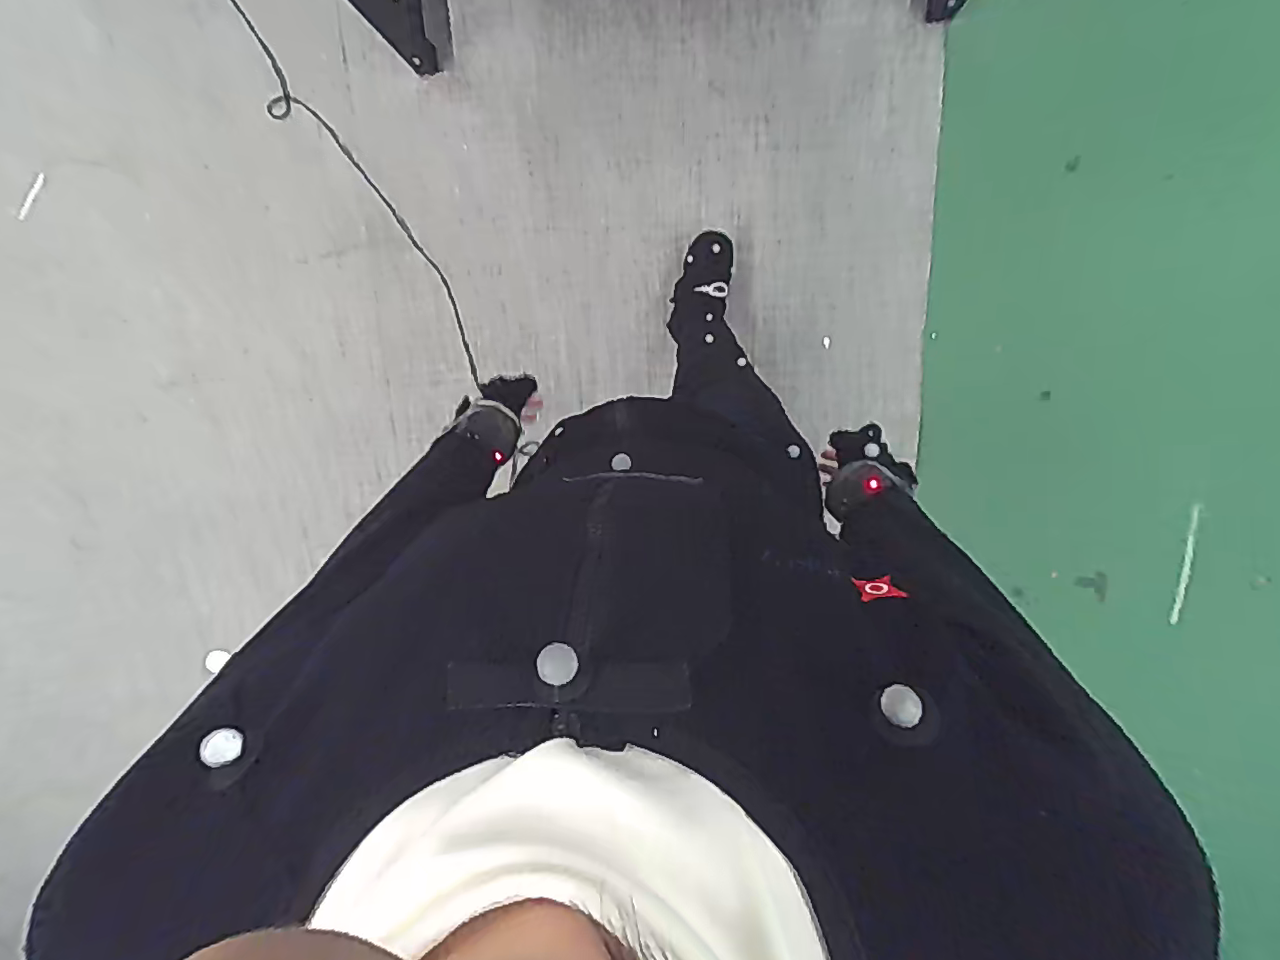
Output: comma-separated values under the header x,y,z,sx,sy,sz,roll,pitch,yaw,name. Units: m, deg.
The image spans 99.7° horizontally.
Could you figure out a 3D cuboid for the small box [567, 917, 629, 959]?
x,y,z,sx,sy,sz,roll,pitch,yaw,name
-0.133,1.510,1.681,0.179,0.176,0.168,4,103,3,small box
